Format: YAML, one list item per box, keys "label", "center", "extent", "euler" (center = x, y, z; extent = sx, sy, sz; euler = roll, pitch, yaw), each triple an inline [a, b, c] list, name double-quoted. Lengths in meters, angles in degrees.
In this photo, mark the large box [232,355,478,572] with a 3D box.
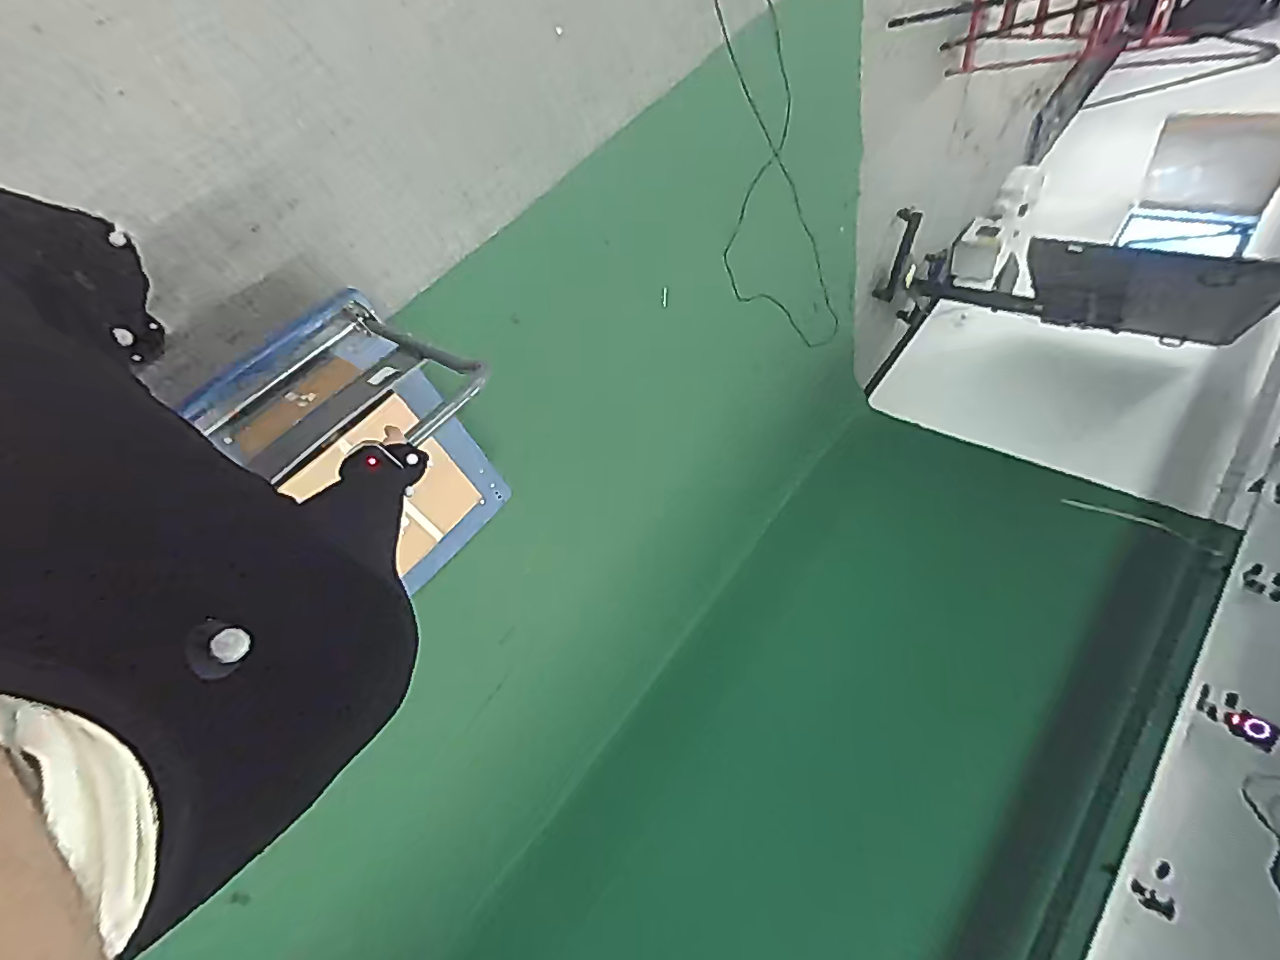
- label: "large box"
  center: [-0.704, -0.042, 1.376]
  extent: [0.320, 0.320, 0.408]
  euler: [-47, 143, -19]
